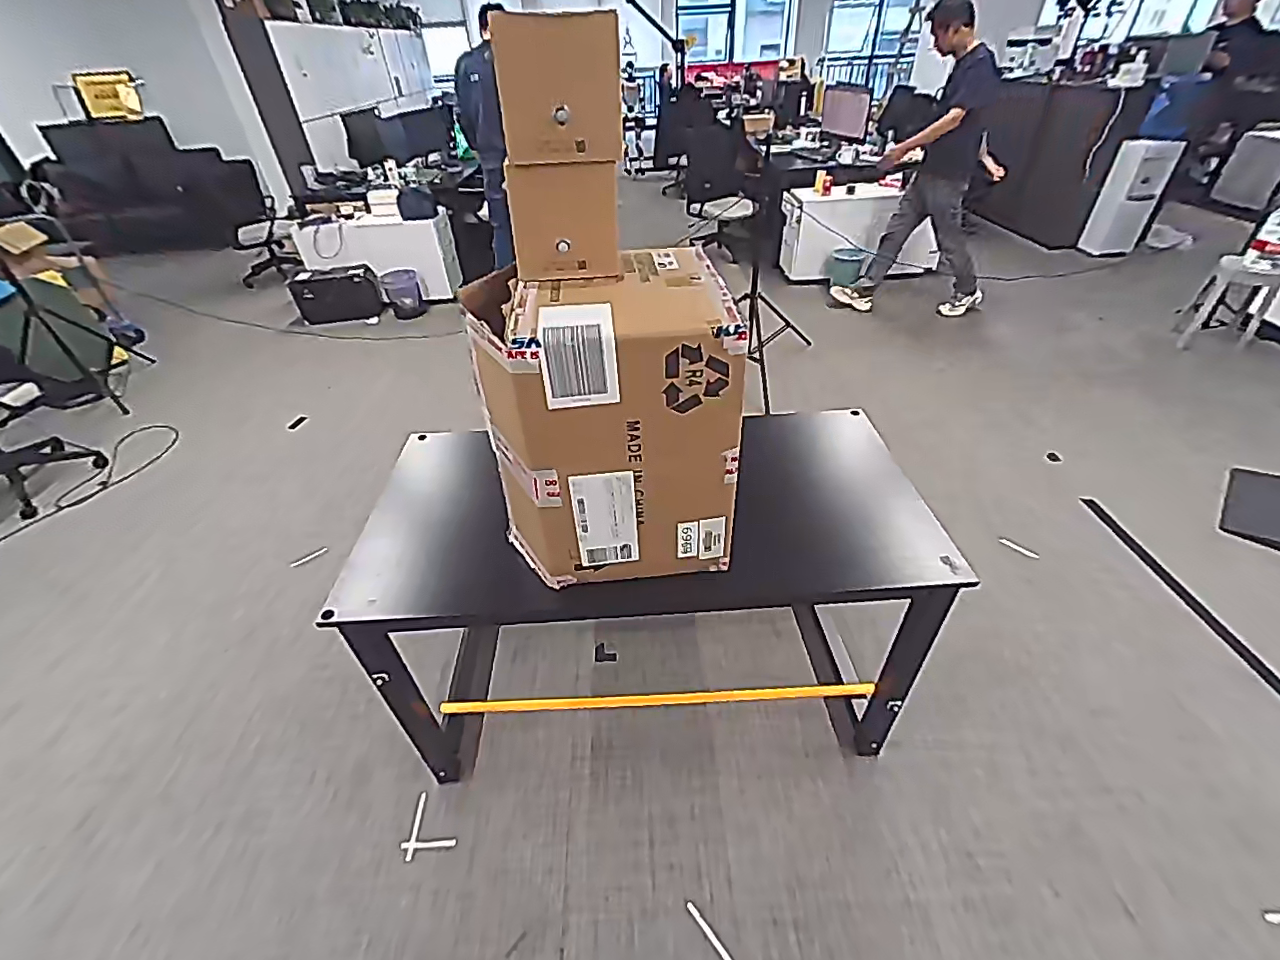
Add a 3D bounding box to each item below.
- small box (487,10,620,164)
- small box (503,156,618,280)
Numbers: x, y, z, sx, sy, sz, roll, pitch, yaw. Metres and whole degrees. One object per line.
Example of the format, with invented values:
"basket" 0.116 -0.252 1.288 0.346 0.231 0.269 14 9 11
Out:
"small box" -0.122 -0.570 0.794 0.168 0.176 0.179 -7 37 -7
"small box" -0.127 -0.441 0.899 0.168 0.176 0.179 -6 37 -5
